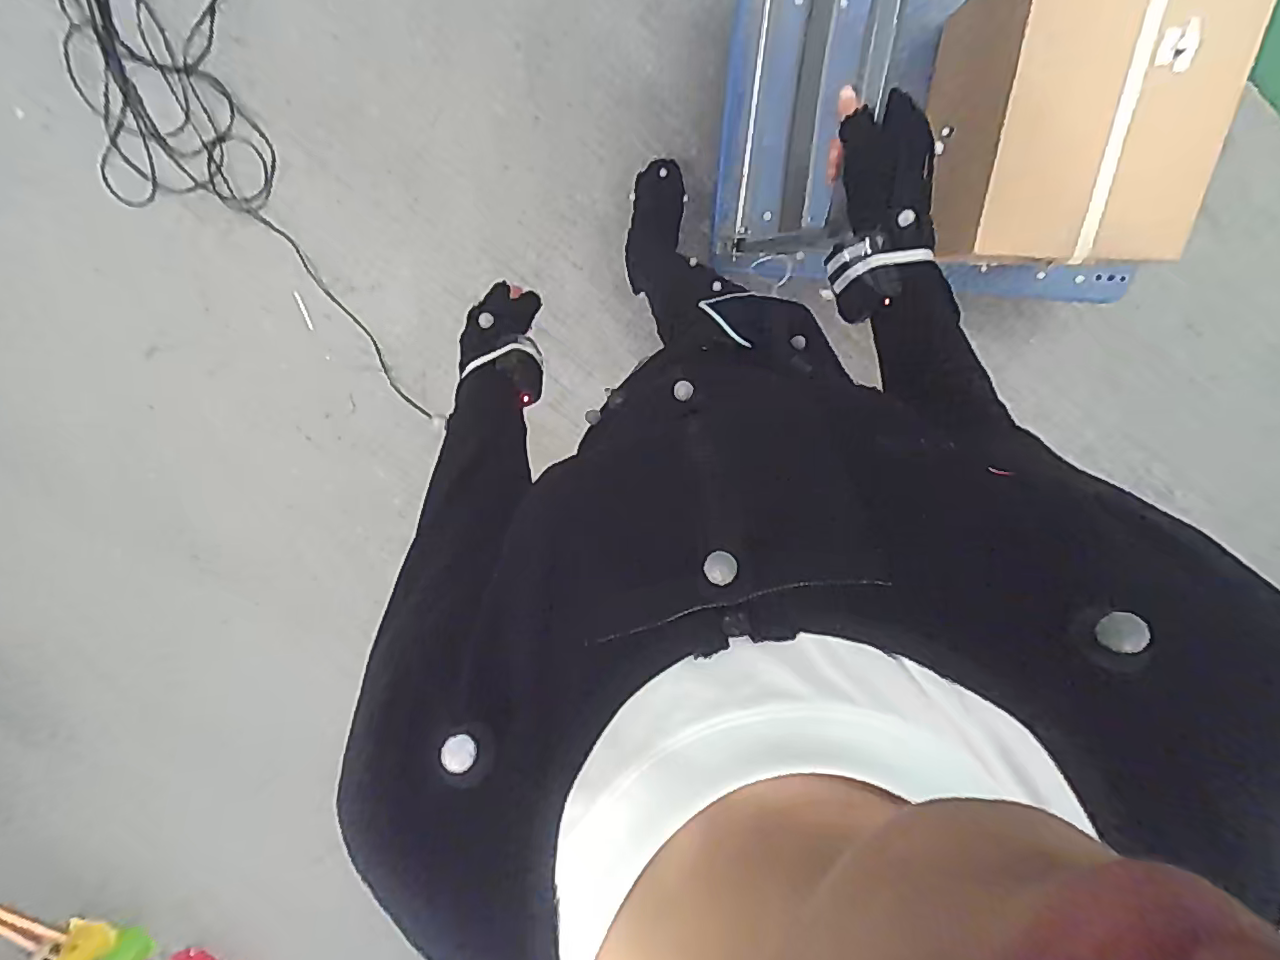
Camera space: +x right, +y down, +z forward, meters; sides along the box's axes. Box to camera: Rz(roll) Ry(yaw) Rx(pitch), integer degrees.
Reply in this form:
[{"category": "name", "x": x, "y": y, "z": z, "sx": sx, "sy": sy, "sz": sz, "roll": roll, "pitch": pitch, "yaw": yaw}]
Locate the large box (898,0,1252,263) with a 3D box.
[{"category": "large box", "x": 0.677, "y": -0.588, "z": 0.912, "sx": 0.320, "sy": 0.320, "sz": 0.408, "roll": 3, "pitch": 110, "yaw": 1}]
